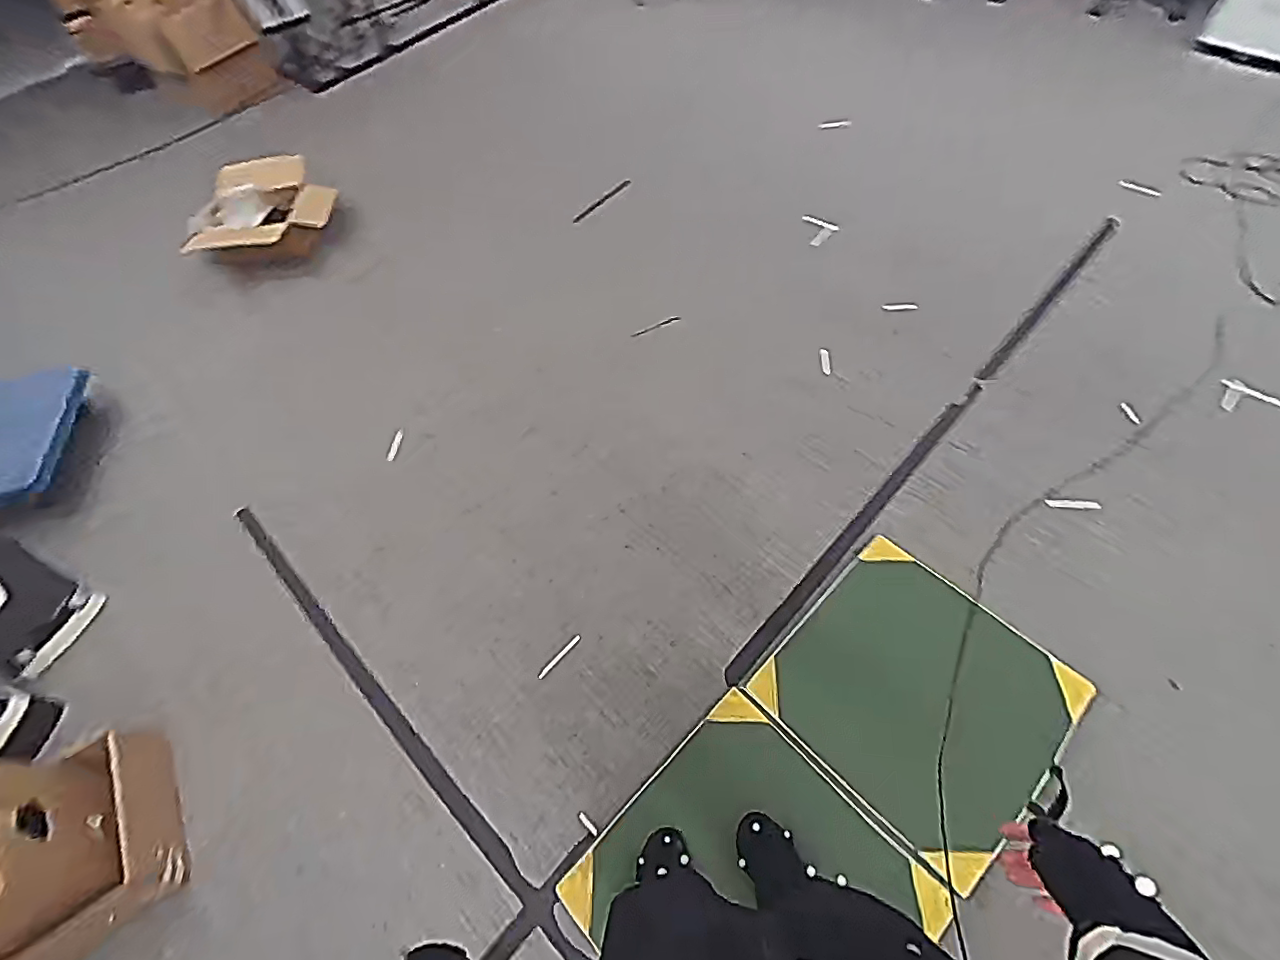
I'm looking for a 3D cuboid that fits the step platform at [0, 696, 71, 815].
[{"bbox_3d":[-2.011,0.706,1.516,0.684,0.204,0.286,10,61,12],"label":"step platform"}]
